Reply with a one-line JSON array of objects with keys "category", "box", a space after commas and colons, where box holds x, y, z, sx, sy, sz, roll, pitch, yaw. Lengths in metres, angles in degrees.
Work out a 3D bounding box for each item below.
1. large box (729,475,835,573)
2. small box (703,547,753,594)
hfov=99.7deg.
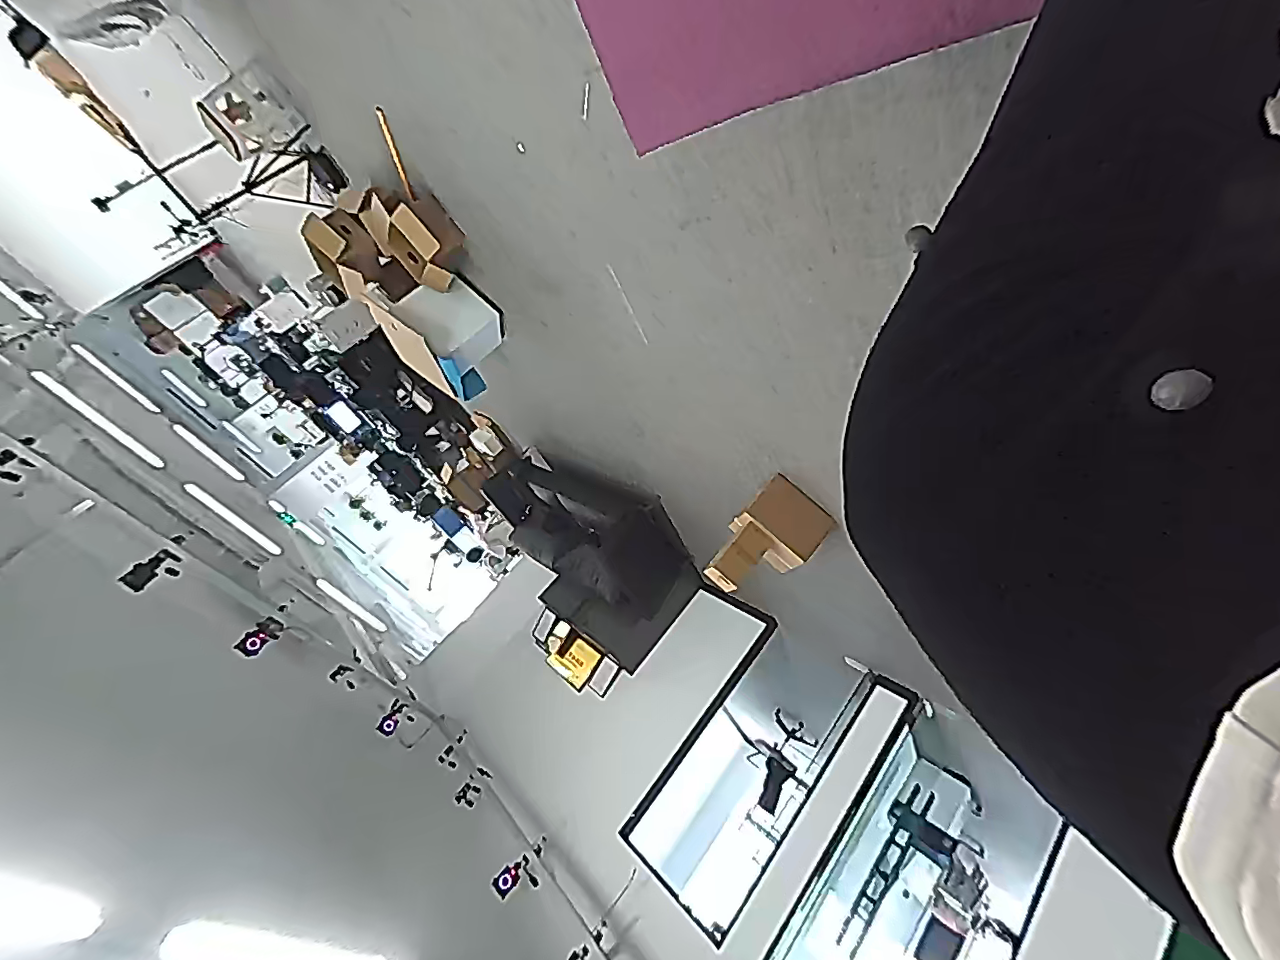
[{"category": "large box", "box": [0.770, 0.246, 2.968, 0.408, 0.320, 0.320, 40, 160, 6]}, {"category": "small box", "box": [0.458, 0.465, 2.798, 0.168, 0.176, 0.179, 42, 160, 5]}]
